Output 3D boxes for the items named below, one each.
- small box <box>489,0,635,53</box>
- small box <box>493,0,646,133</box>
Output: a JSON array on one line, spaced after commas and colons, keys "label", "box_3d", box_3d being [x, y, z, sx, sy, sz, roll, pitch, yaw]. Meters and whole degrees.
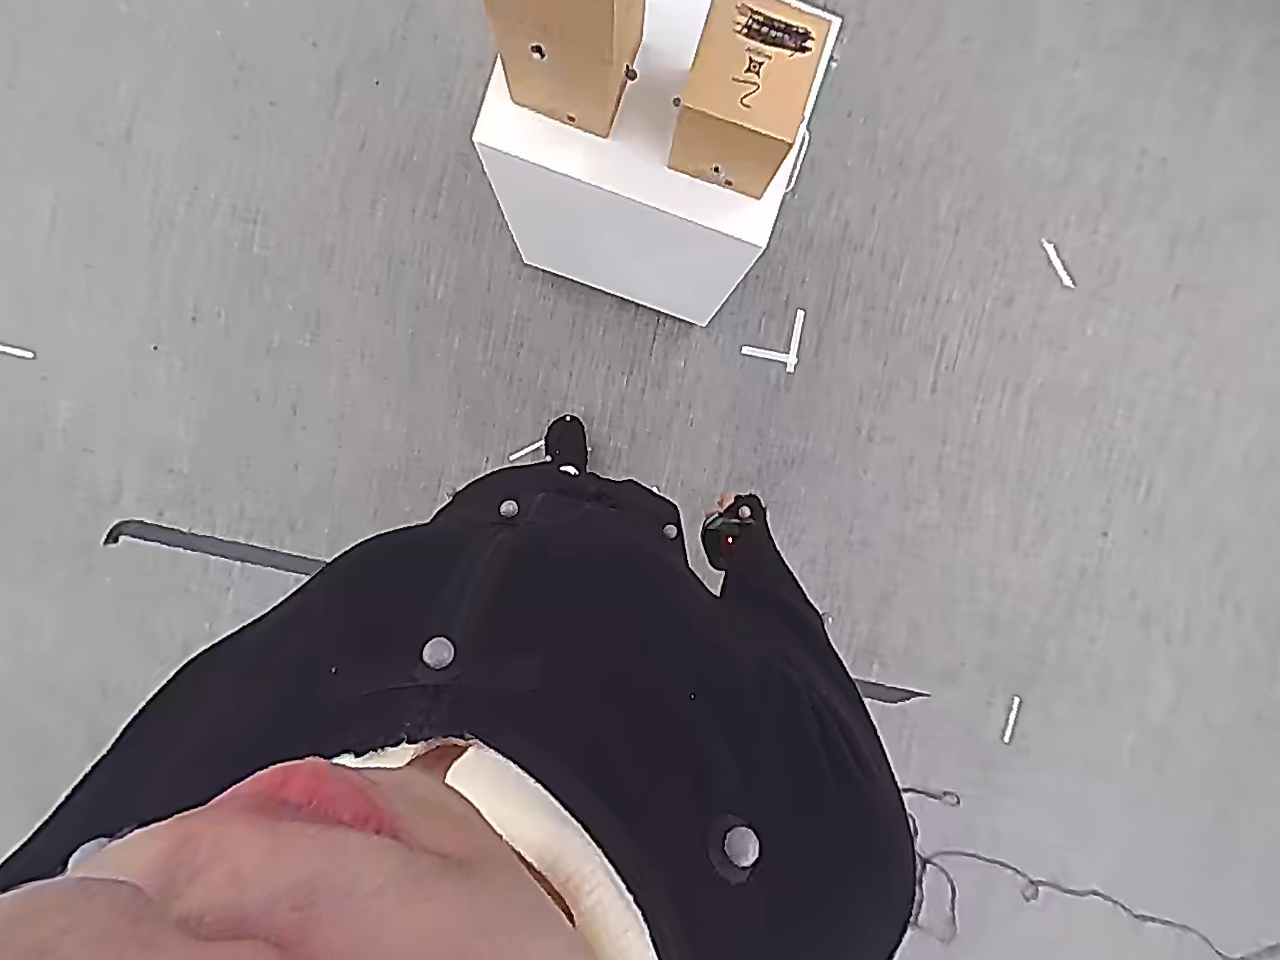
[{"label": "small box", "box_3d": [-0.084, -0.644, 0.615, 0.179, 0.176, 0.168, 19, 93, -5]}, {"label": "small box", "box_3d": [-0.093, -0.657, 0.779, 0.168, 0.176, 0.179, 19, 91, -4]}]
